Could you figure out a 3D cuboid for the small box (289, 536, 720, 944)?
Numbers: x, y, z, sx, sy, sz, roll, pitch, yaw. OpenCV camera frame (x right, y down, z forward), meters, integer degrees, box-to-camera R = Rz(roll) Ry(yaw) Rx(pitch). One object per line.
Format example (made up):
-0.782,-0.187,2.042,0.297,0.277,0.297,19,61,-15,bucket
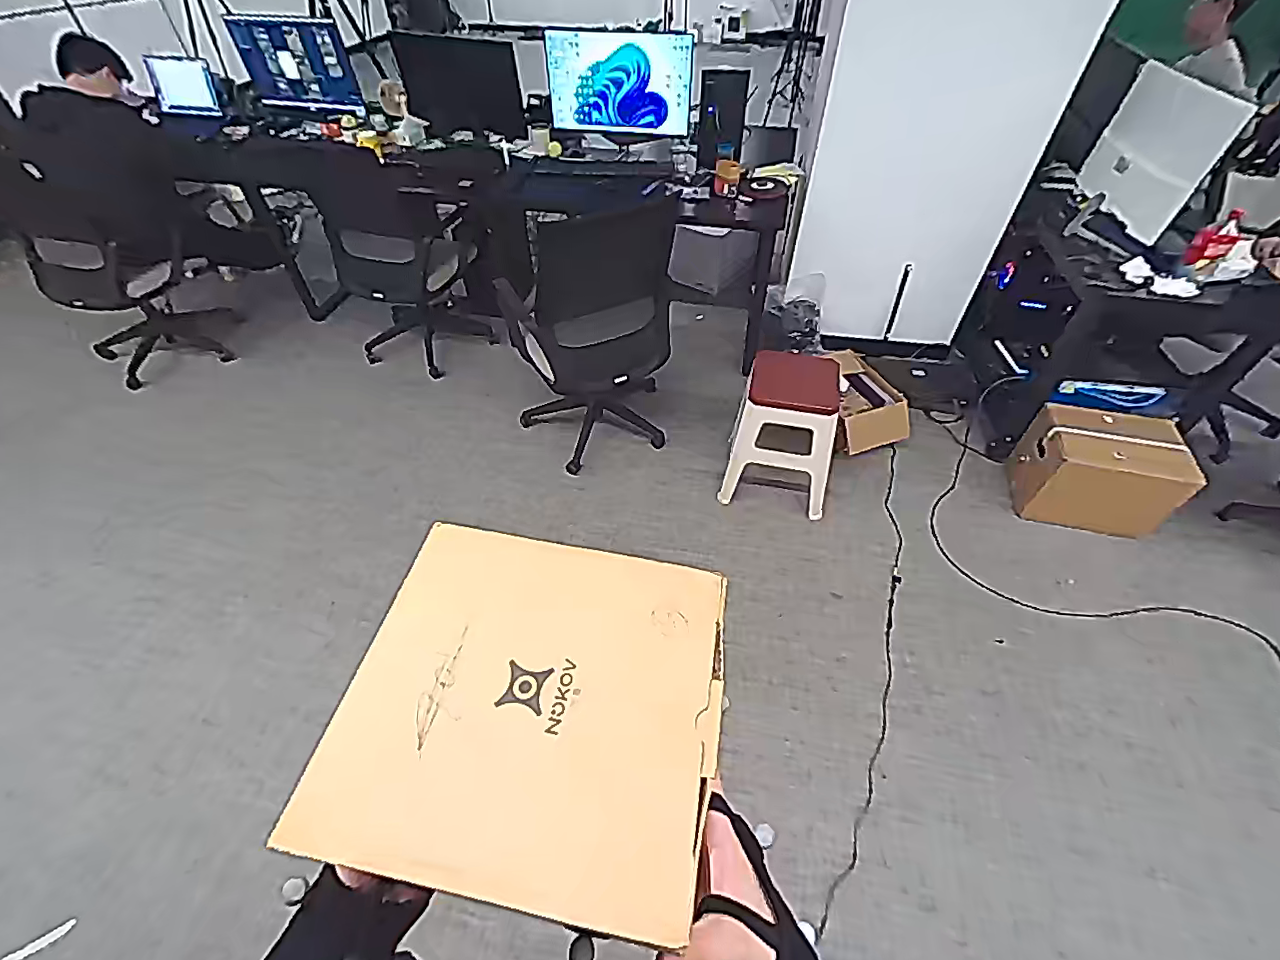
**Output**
-0.055,0.160,0.336,0.179,0.176,0.168,9,50,6,small box
